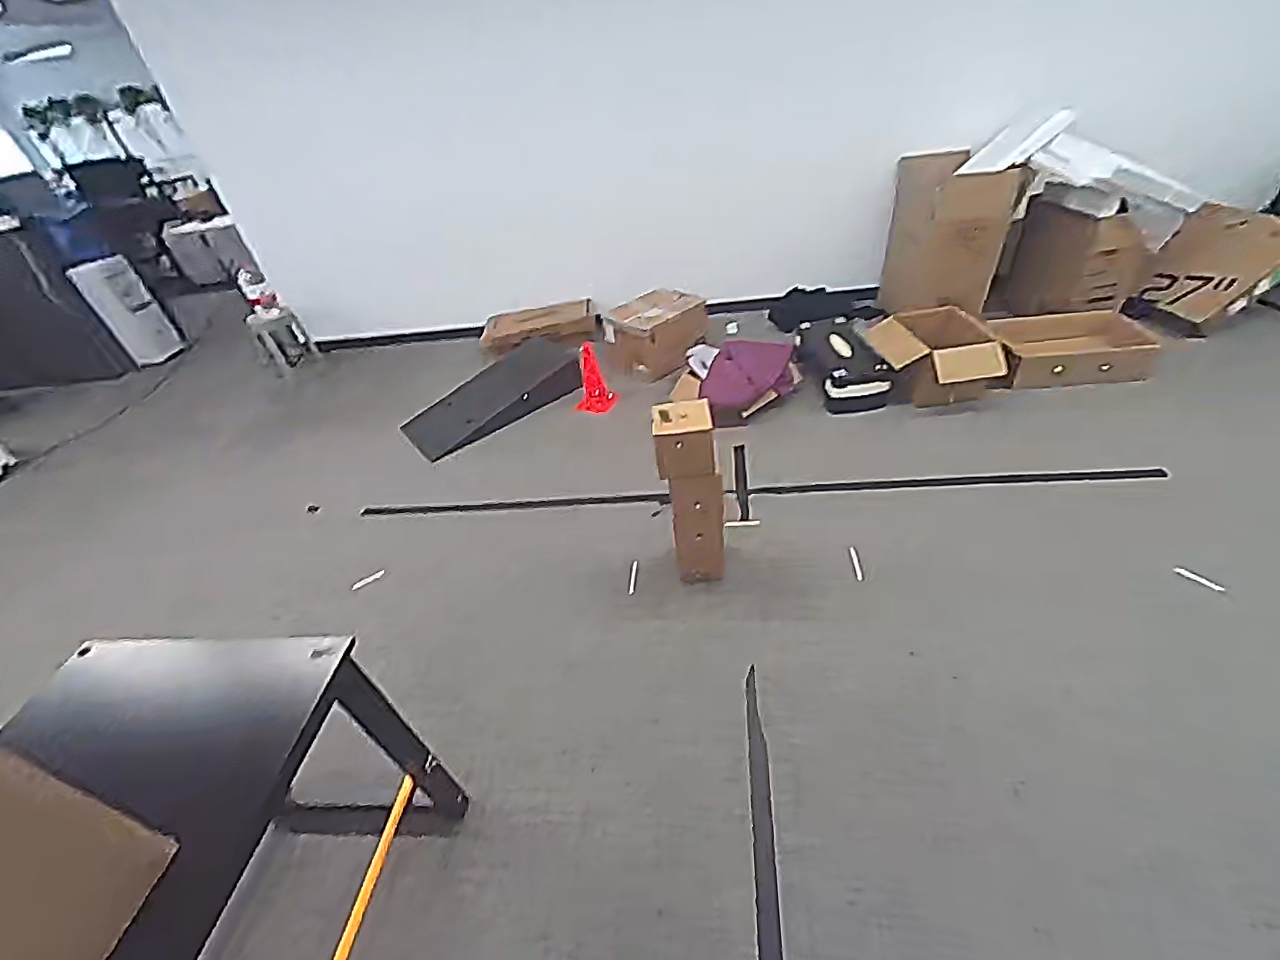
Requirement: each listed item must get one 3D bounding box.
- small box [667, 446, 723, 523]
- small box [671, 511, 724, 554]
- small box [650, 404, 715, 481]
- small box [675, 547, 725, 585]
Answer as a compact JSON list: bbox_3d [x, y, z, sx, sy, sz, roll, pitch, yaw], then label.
[{"bbox_3d":[0.173,0.015,1.749,0.168,0.176,0.179,-8,38,5],"label":"small box"},{"bbox_3d":[0.198,0.142,1.852,0.168,0.176,0.179,-5,39,8],"label":"small box"},{"bbox_3d":[0.129,-0.111,1.650,0.179,0.176,0.168,-7,38,5],"label":"small box"},{"bbox_3d":[0.217,0.259,1.967,0.168,0.176,0.179,-5,39,8],"label":"small box"}]
